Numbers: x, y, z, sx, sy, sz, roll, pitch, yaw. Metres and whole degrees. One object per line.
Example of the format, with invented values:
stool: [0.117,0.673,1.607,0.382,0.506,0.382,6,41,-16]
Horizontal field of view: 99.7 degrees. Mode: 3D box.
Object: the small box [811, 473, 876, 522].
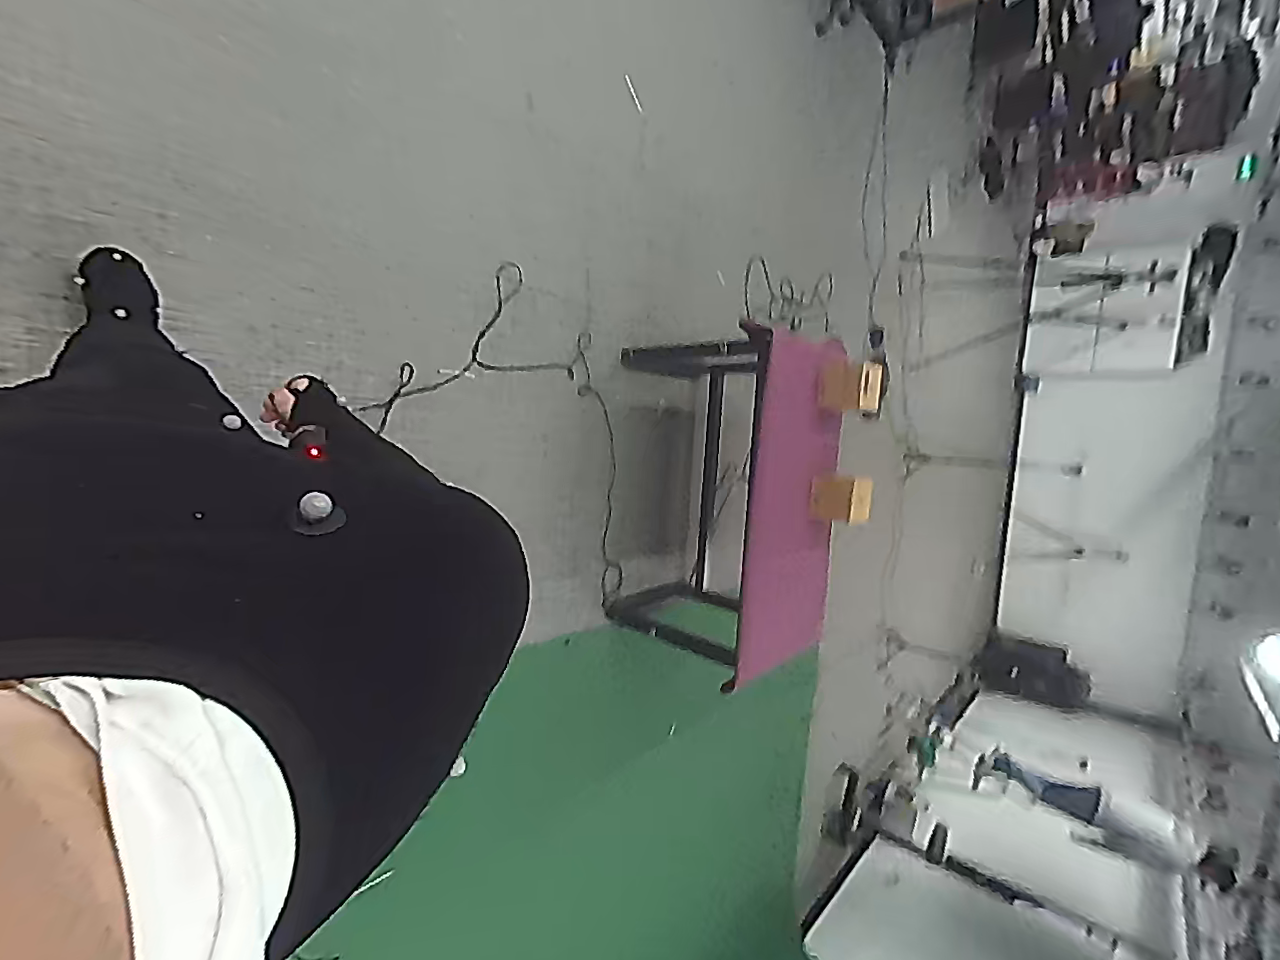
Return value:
small box: [0.791,0.065,2.104,0.179,0.176,0.168,2,97,-45]
